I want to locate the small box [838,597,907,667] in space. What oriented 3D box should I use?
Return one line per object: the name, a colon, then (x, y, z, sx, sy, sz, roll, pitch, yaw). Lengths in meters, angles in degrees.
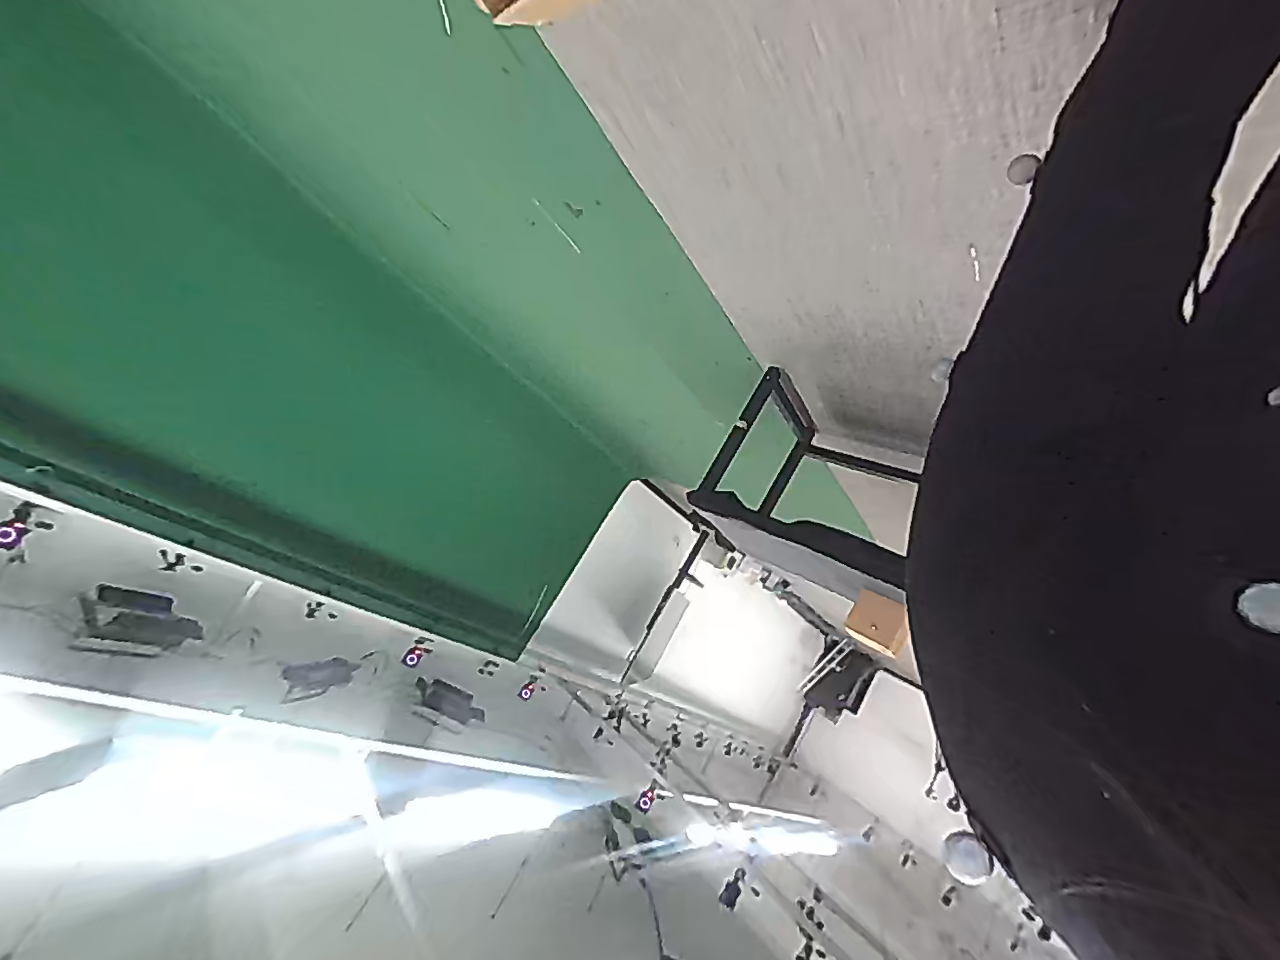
small box: (0.862, 0.558, 1.990, 0.179, 0.176, 0.168, 24, 166, 41)
